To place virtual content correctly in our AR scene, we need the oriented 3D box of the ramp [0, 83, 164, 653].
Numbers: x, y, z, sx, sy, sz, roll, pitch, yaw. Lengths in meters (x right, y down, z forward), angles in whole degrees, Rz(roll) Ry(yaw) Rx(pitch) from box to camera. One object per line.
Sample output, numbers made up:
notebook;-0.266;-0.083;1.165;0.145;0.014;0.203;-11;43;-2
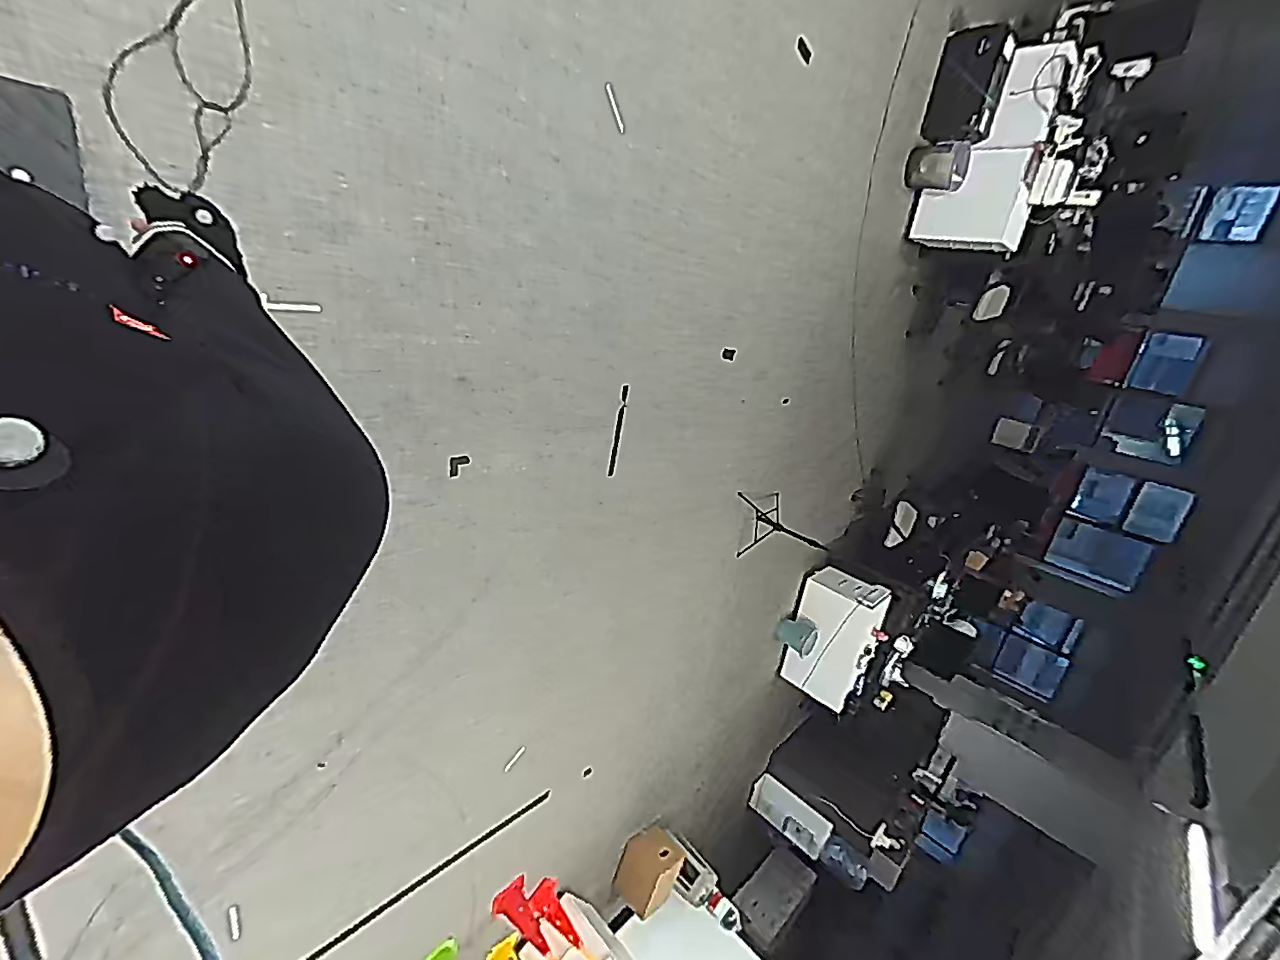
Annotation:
ramp;-1.204;-0.159;0.902;0.509;0.206;0.991;-13;119;-43
